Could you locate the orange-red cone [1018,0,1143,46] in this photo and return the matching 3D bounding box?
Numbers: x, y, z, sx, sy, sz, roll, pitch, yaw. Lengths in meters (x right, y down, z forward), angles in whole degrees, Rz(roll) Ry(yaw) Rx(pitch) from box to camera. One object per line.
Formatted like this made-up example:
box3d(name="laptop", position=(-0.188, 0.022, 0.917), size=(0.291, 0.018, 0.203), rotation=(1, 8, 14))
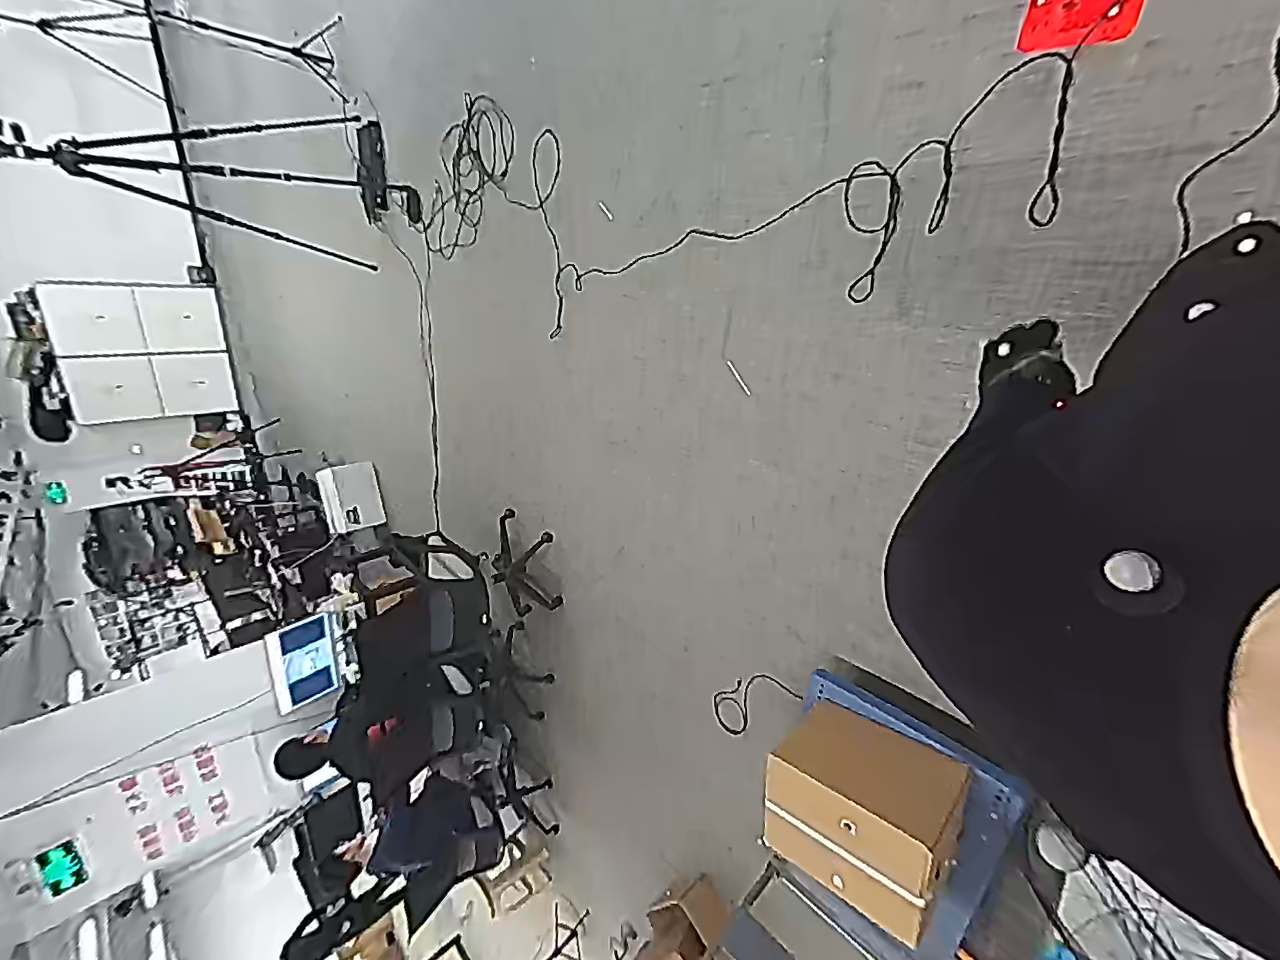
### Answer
box3d(name="orange-red cone", position=(0.755, -0.935, 0.931), size=(0.198, 0.360, 0.199), rotation=(26, 119, 38))
